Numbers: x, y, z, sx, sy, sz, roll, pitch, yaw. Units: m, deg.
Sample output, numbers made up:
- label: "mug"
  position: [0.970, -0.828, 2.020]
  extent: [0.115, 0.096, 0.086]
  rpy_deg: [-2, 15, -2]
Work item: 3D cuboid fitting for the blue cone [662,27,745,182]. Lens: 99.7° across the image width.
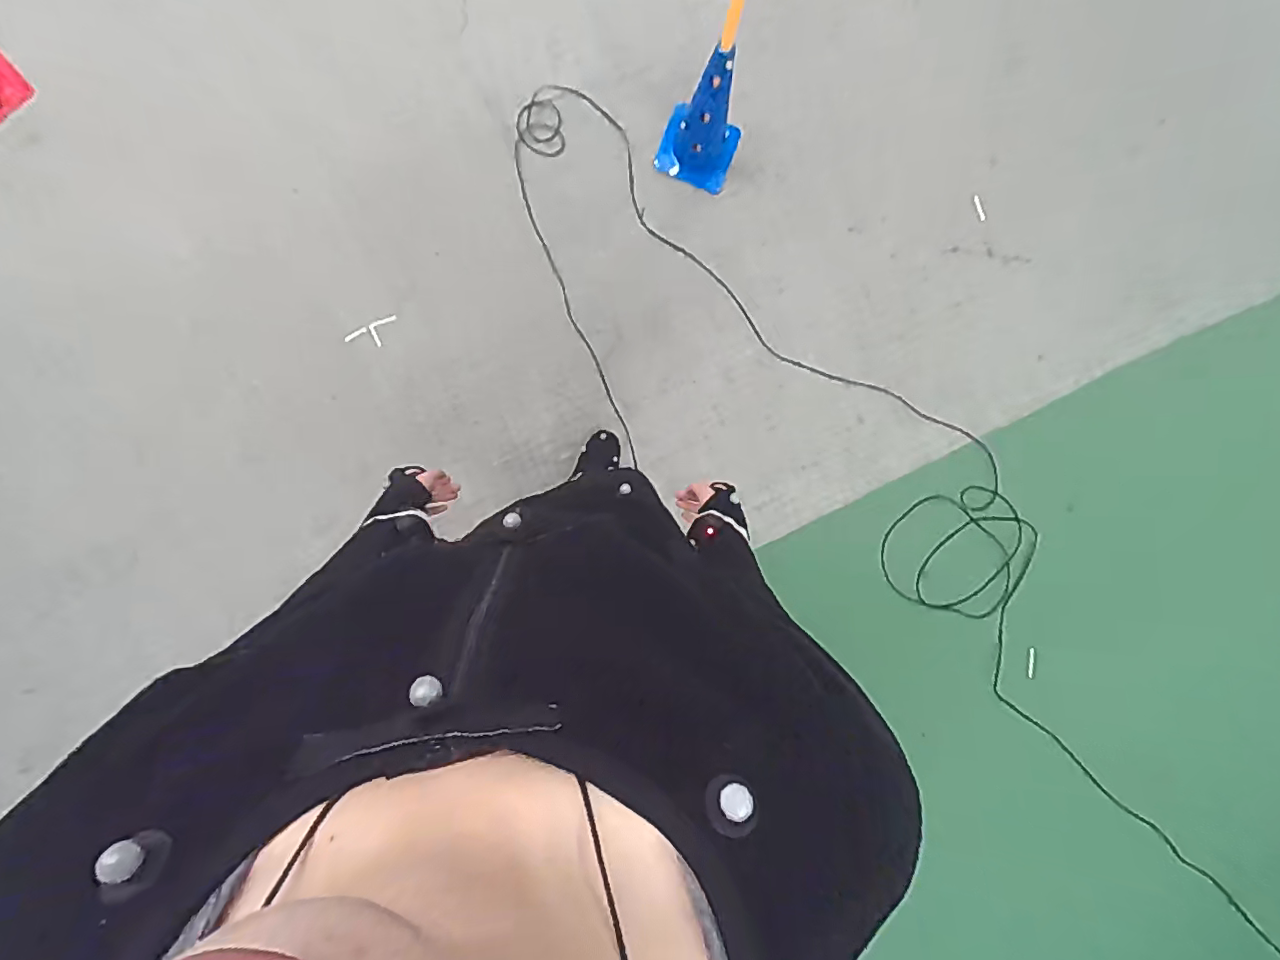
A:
- label: "blue cone"
  position: [0.176, -0.921, 1.302]
  extent: [0.192, 0.380, 0.193]
  rpy_deg: [20, 88, -4]
